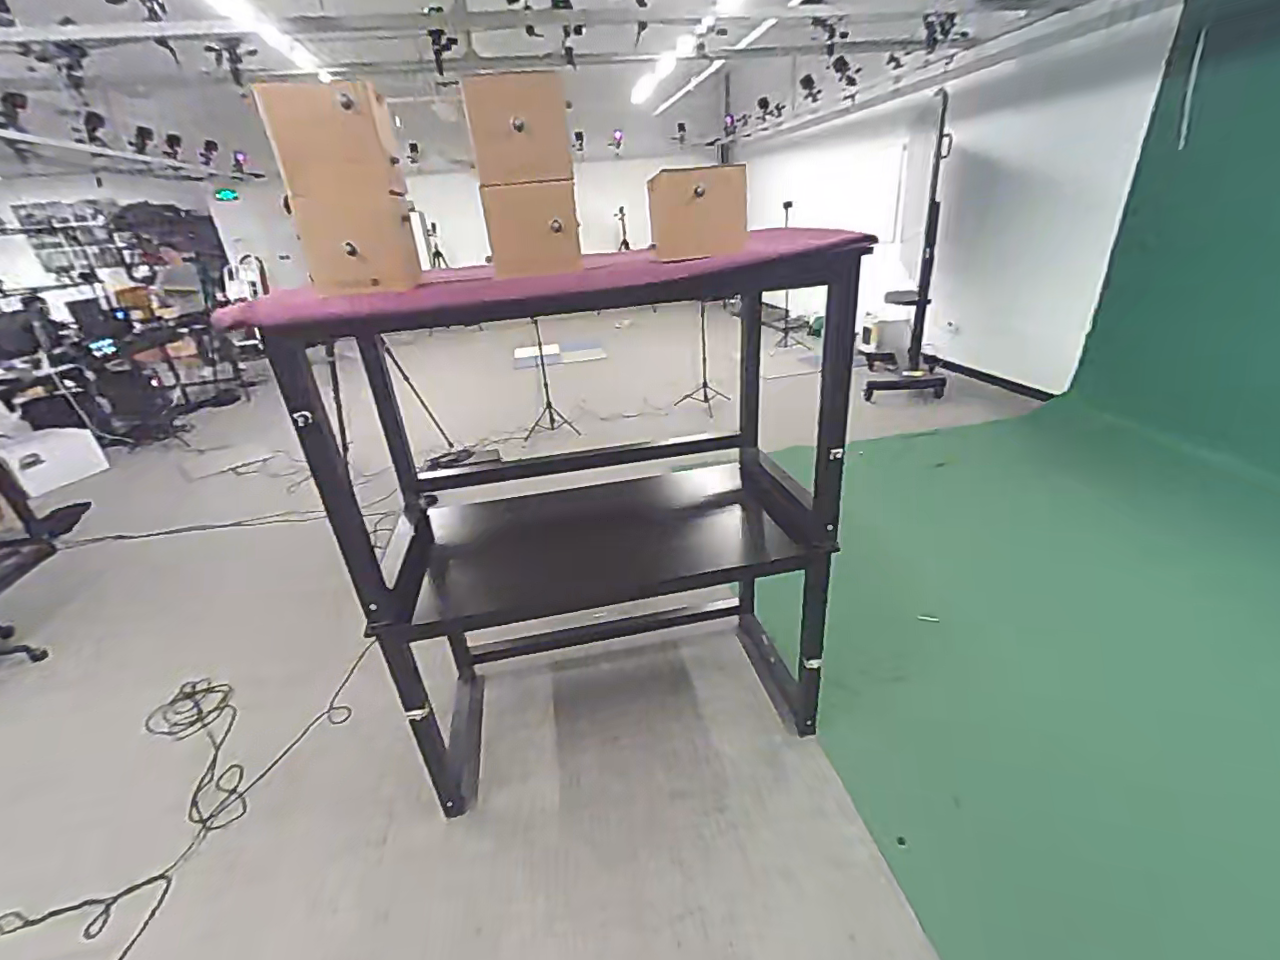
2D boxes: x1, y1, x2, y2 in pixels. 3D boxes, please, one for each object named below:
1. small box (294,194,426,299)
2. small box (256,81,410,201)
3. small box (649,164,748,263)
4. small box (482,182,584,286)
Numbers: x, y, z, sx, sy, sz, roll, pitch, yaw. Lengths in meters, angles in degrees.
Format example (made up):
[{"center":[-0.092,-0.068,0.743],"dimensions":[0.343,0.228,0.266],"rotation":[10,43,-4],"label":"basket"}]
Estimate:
[{"center":[-0.525,-0.448,1.043],"dimensions":[0.168,0.176,0.179],"rotation":[-8,27,-9],"label":"small box"},{"center":[-0.535,-0.594,0.970],"dimensions":[0.179,0.176,0.168],"rotation":[-9,28,-10],"label":"small box"},{"center":[0.125,-0.564,1.161],"dimensions":[0.179,0.176,0.168],"rotation":[-8,24,-6],"label":"small box"},{"center":[-0.211,-0.498,1.095],"dimensions":[0.179,0.176,0.168],"rotation":[-10,26,-8],"label":"small box"}]
